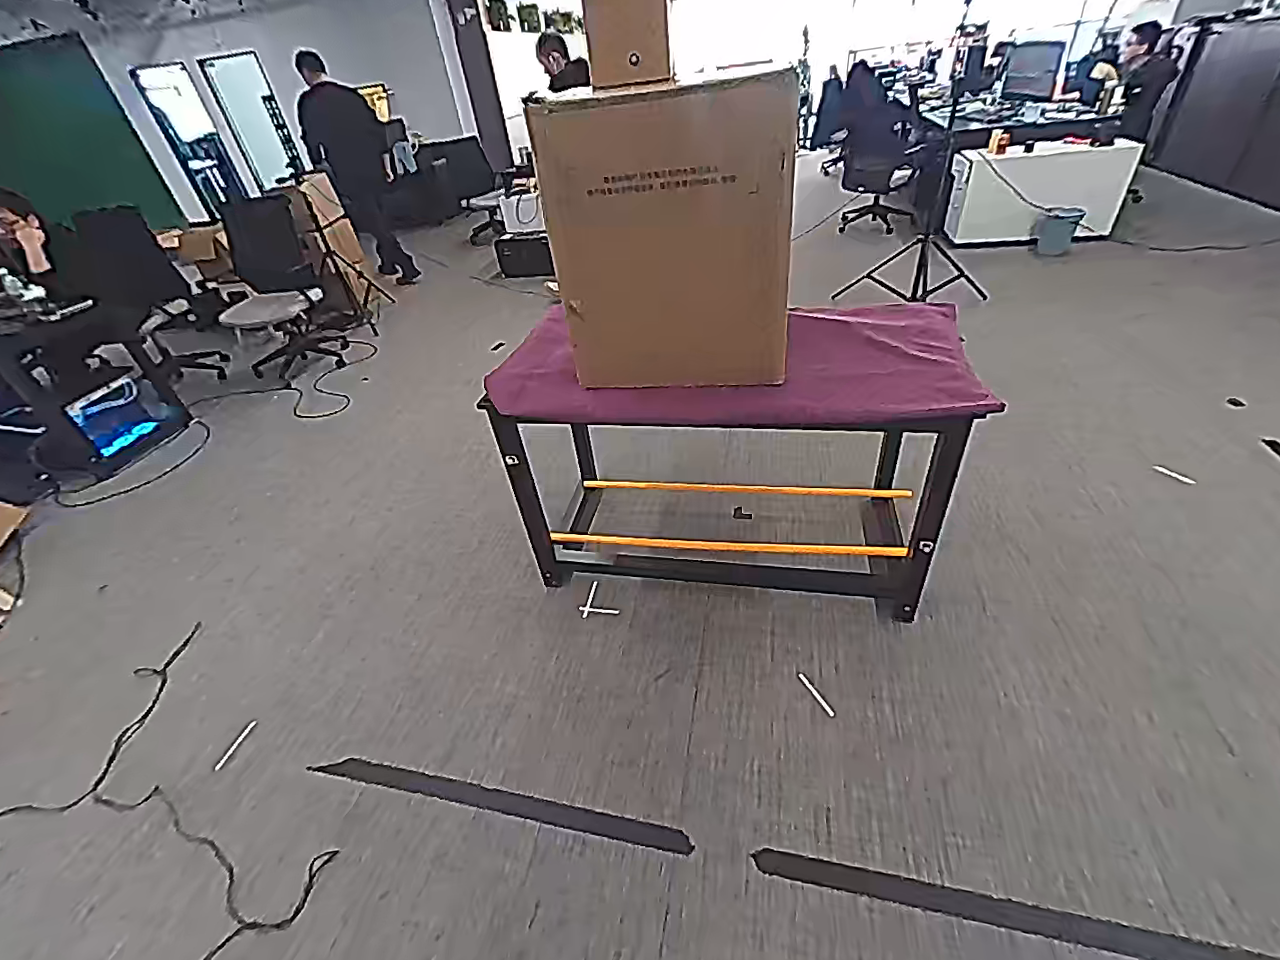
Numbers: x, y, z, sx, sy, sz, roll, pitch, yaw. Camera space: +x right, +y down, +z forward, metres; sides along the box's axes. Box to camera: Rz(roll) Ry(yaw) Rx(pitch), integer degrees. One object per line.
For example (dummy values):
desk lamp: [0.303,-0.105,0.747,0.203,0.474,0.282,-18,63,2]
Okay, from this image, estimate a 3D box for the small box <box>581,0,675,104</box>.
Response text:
small box: [-0.020,-0.947,1.191,0.179,0.176,0.168,0,38,9]
